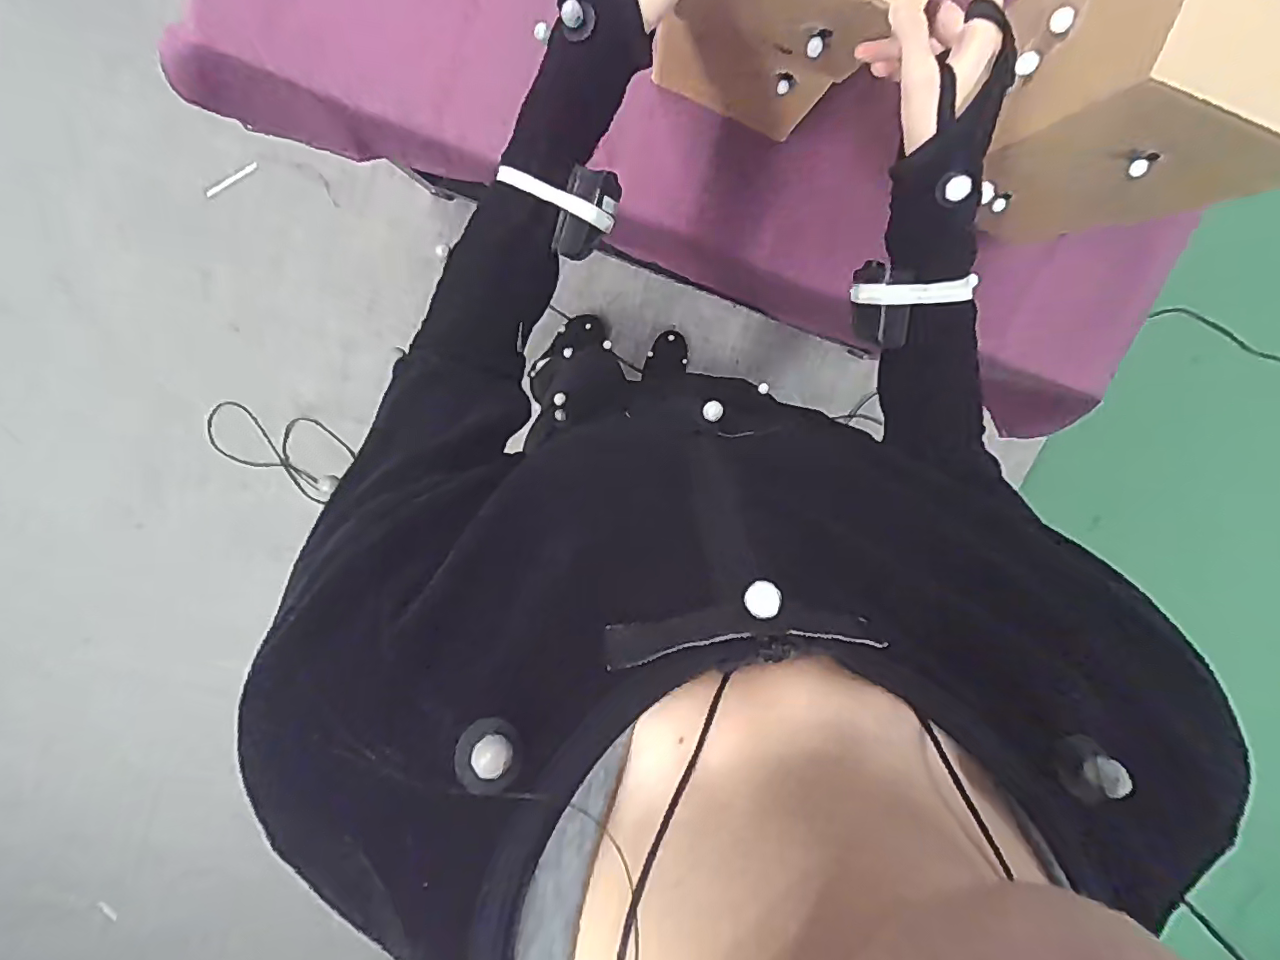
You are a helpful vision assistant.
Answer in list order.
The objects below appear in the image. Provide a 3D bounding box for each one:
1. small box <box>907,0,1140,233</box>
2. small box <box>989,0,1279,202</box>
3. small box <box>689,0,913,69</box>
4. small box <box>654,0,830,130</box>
[{"bbox_3d":[0.428,-0.385,0.582,0.179,0.176,0.168,16,104,-5],"label":"small box"},{"bbox_3d":[0.433,-0.341,0.423,0.179,0.176,0.168,17,103,-6],"label":"small box"},{"bbox_3d":[0.129,-0.434,0.381,0.168,0.176,0.179,17,112,-7],"label":"small box"},{"bbox_3d":[0.122,-0.493,0.545,0.179,0.176,0.168,19,103,-8],"label":"small box"}]
